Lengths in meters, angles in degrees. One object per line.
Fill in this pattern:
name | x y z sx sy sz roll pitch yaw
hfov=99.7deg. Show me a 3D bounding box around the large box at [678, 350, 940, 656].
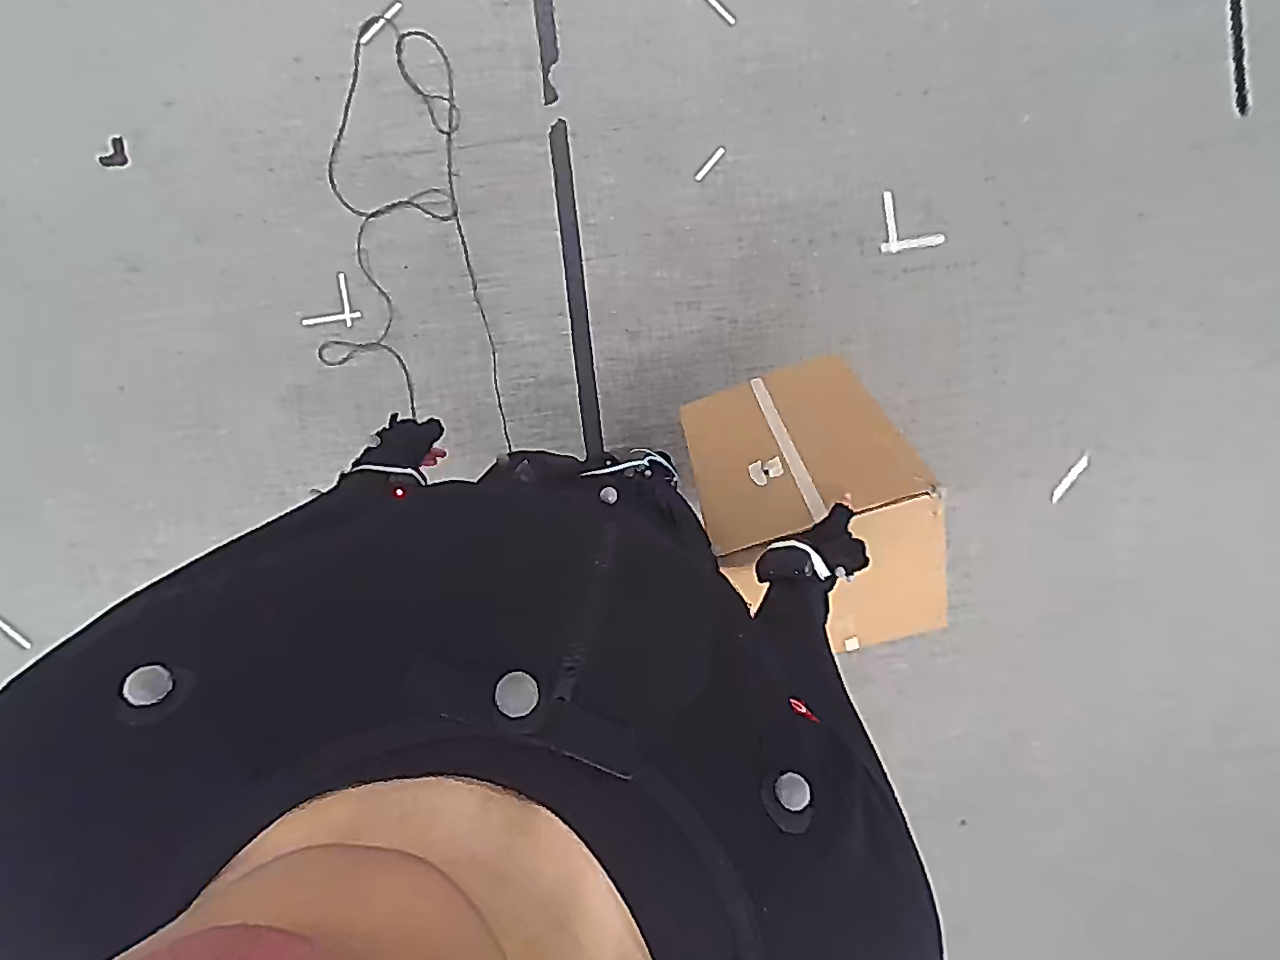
large box | 0.286 0.033 0.976 0.320 0.408 0.320 -20 129 11
